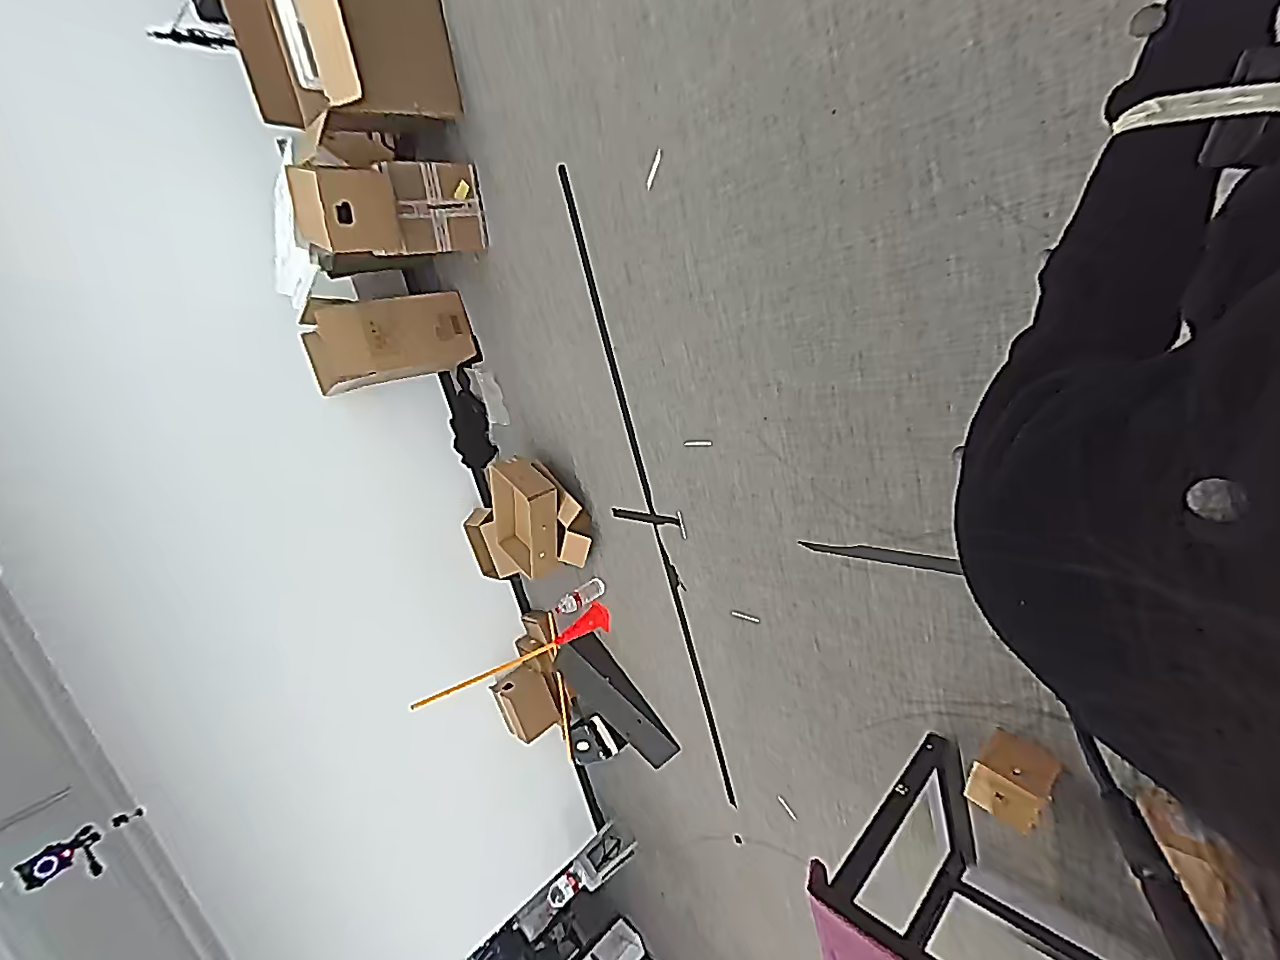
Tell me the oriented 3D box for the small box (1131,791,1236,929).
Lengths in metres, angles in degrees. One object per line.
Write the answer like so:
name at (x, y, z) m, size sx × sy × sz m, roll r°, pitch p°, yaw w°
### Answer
small box at (1.326, 0.915, 1.318) m, size 0.168 × 0.176 × 0.179 m, roll 2°, pitch 111°, yaw 51°

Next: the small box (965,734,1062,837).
small box at (1.100, 0.886, 1.592) m, size 0.179 × 0.176 × 0.168 m, roll 24°, pitch 127°, yaw 41°
